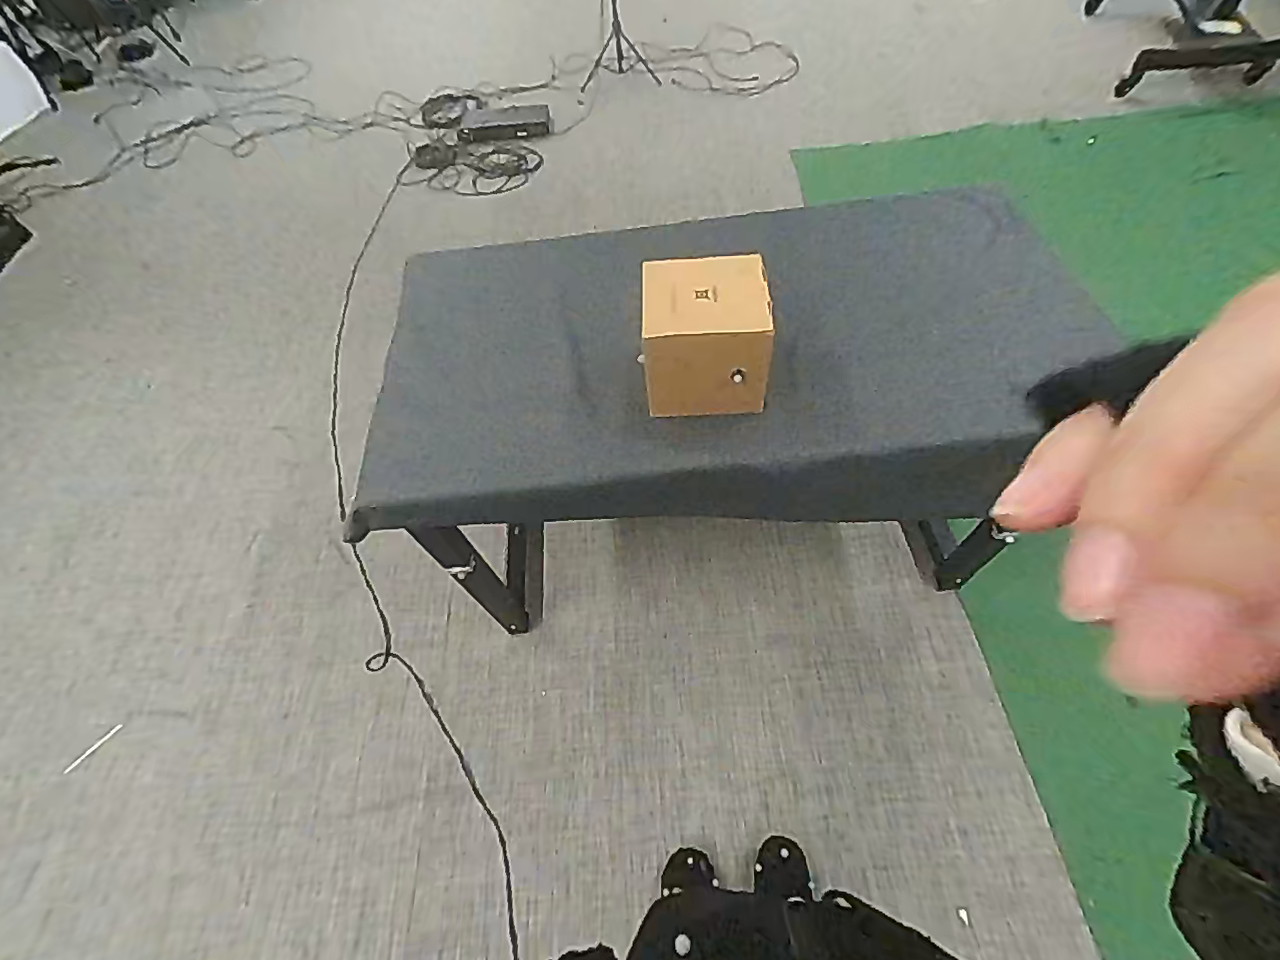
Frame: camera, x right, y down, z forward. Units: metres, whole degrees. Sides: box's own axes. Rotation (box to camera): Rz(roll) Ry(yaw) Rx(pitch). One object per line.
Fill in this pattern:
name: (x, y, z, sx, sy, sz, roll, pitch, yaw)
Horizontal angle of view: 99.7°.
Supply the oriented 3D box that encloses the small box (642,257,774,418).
small box: (0.097, -0.210, 0.822, 0.179, 0.176, 0.168, -3, 56, 5)
